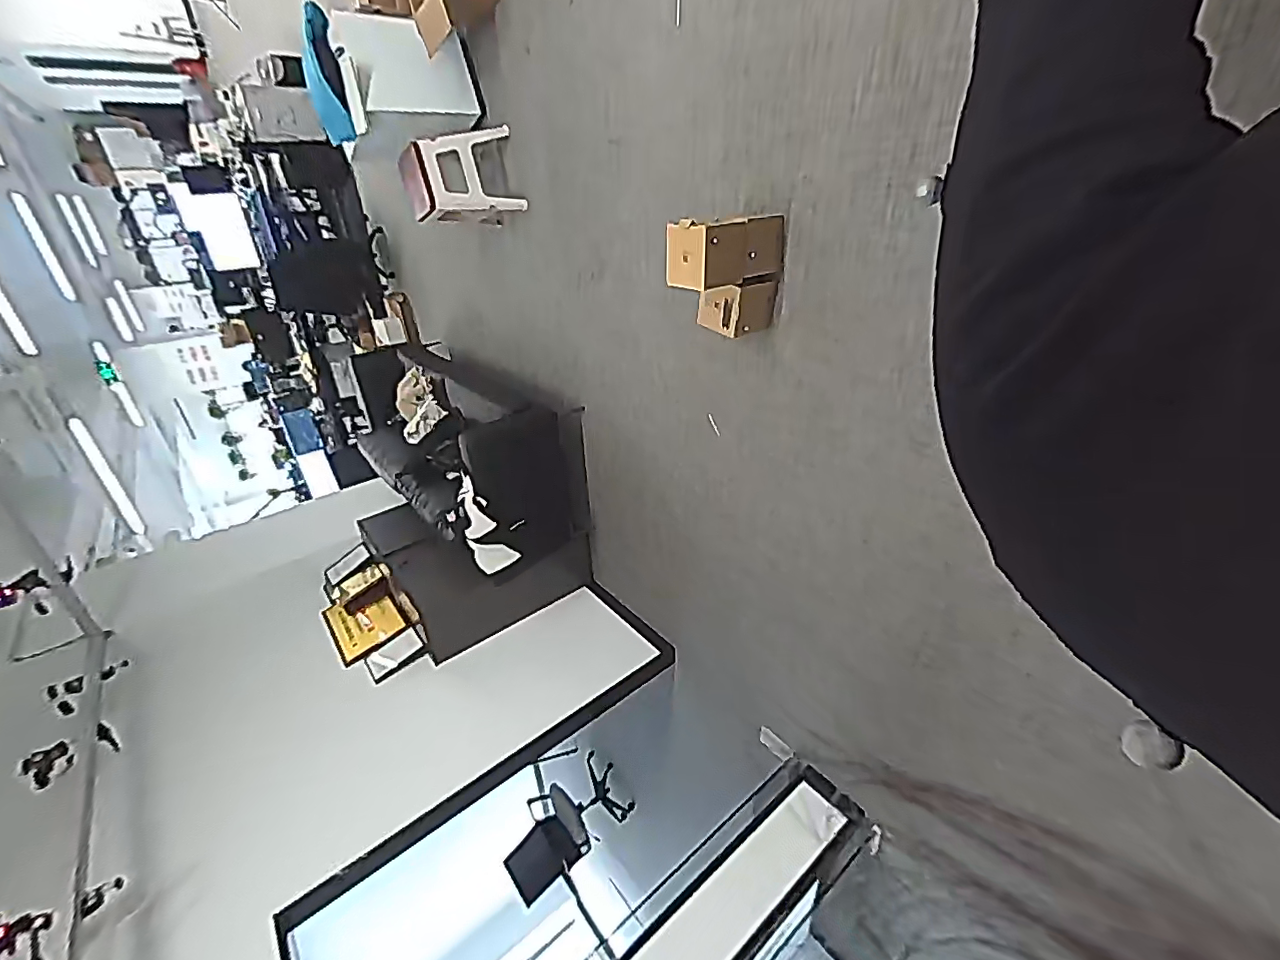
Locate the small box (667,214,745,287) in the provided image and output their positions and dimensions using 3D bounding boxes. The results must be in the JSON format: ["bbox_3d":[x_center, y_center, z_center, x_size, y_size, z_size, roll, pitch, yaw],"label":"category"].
[{"bbox_3d":[0.198,-0.691,1.619,0.168,0.176,0.179,30,132,43],"label":"small box"}]
